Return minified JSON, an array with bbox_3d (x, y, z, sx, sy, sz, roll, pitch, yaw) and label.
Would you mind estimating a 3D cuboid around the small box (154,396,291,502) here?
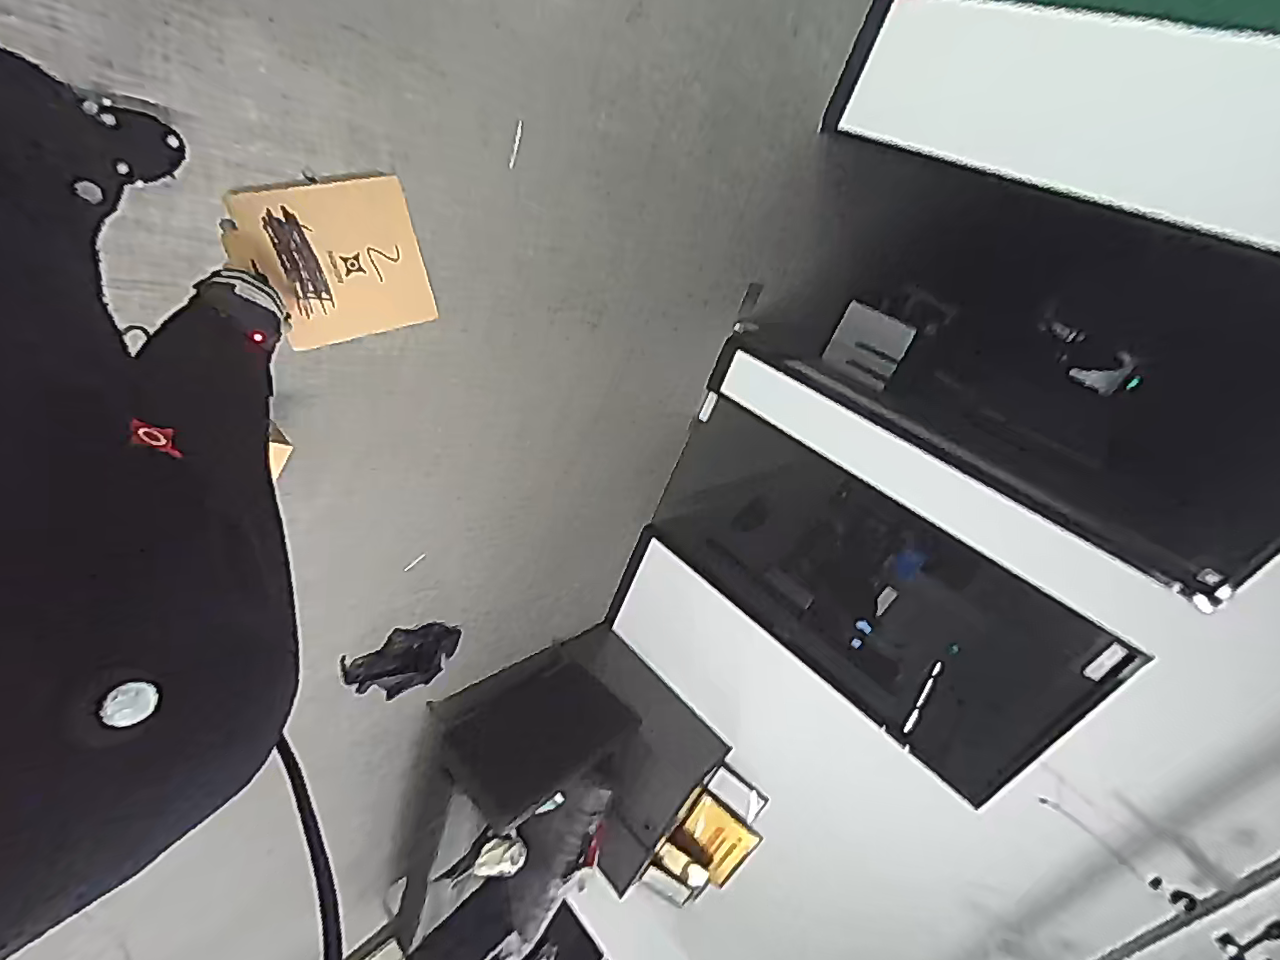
[{"bbox_3d":[-0.946,-0.070,1.225,0.168,0.176,0.179,-56,152,10],"label":"small box"}]
